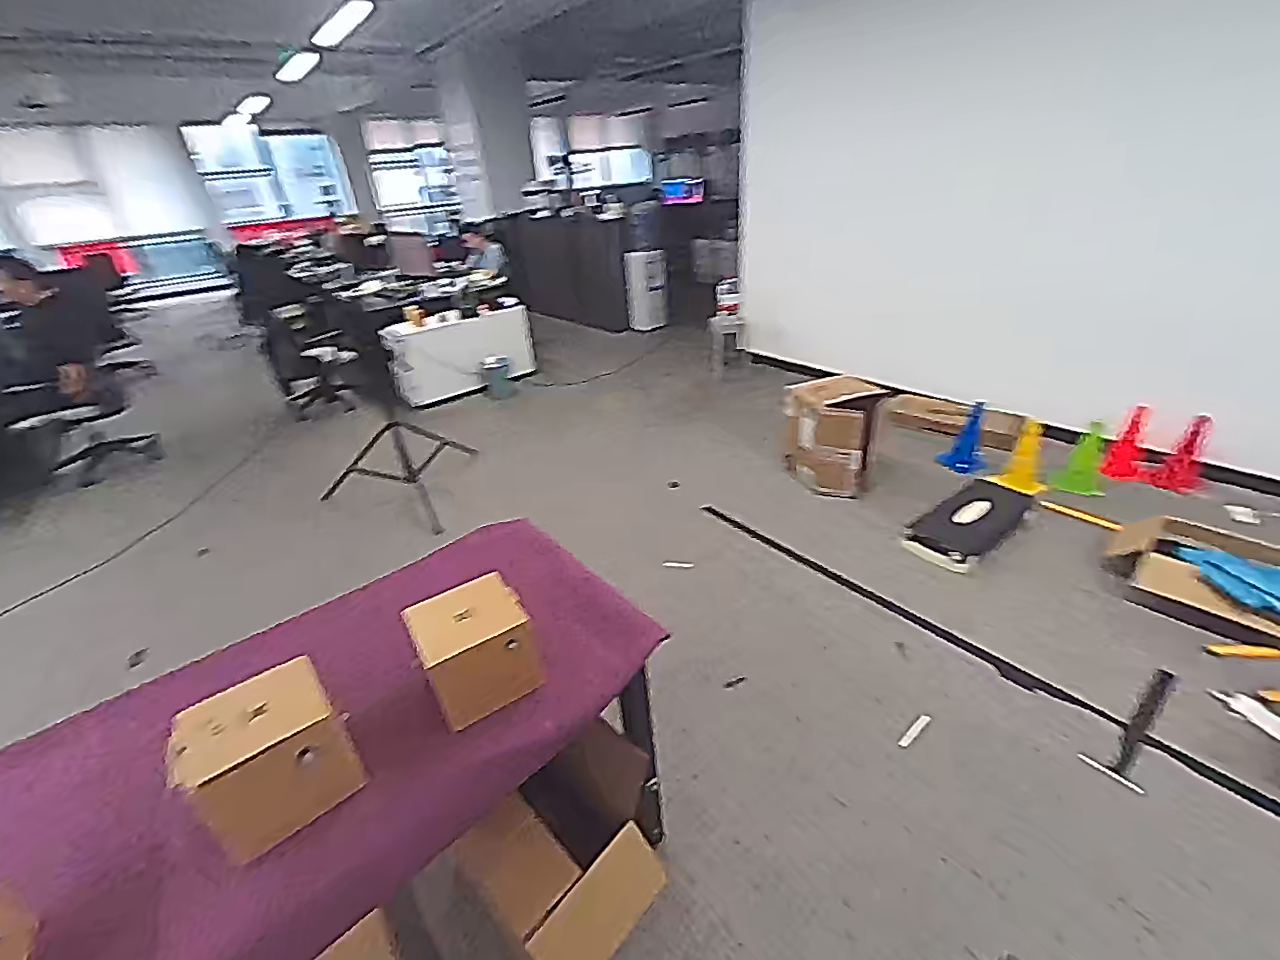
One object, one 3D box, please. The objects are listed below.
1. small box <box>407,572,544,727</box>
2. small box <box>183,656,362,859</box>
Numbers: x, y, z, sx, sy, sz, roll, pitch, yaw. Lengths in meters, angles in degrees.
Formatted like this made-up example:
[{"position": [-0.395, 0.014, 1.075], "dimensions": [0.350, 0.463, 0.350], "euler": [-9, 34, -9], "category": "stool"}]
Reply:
[{"position": [-0.294, 0.304, 0.980], "dimensions": [0.179, 0.176, 0.168], "euler": [-21, 34, -27], "category": "small box"}, {"position": [-0.549, 0.414, 0.824], "dimensions": [0.179, 0.176, 0.168], "euler": [-27, 34, -33], "category": "small box"}]
